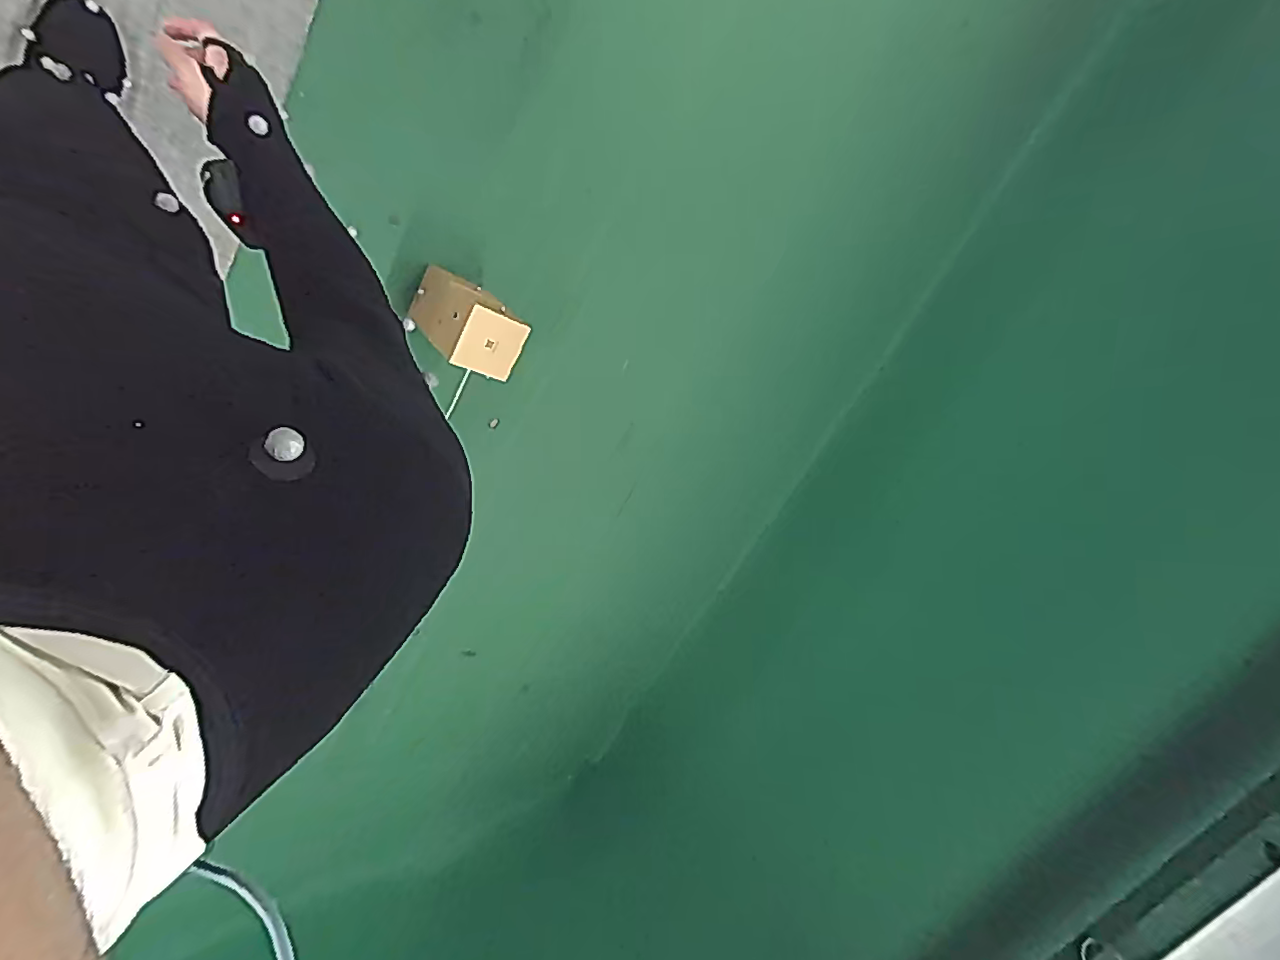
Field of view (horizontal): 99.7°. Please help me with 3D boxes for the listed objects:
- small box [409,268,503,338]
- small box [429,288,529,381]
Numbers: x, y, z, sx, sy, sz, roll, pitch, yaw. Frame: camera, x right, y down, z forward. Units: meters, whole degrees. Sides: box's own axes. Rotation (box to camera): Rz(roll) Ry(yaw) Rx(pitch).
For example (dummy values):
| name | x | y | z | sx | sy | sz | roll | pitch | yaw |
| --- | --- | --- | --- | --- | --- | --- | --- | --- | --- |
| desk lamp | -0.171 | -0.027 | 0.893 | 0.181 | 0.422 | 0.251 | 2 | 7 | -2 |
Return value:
| name | x | y | z | sx | sy | sz | roll | pitch | yaw |
| --- | --- | --- | --- | --- | --- | --- | --- | --- | --- |
| small box | -0.530 | -0.483 | 1.549 | 0.179 | 0.176 | 0.168 | 13 | 113 | -47 |
| small box | -0.437 | -0.393 | 1.453 | 0.179 | 0.176 | 0.168 | 12 | 114 | -49 |
